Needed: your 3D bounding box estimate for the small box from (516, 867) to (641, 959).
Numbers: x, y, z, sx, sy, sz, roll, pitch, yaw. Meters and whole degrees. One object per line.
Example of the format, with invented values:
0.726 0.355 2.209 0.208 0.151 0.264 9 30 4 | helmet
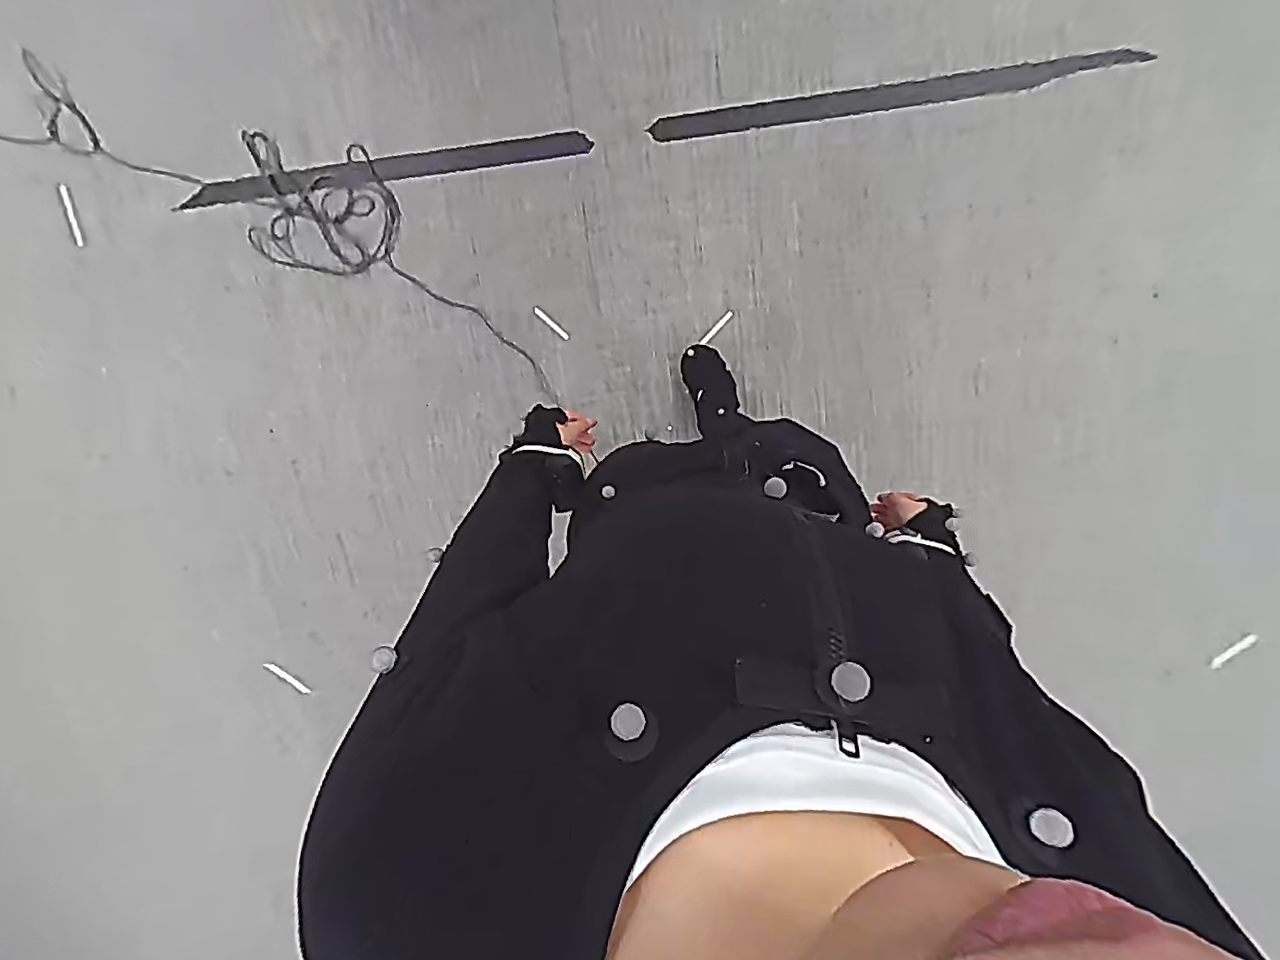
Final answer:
-0.091 0.756 0.861 0.179 0.176 0.168 -3 102 6 | small box
